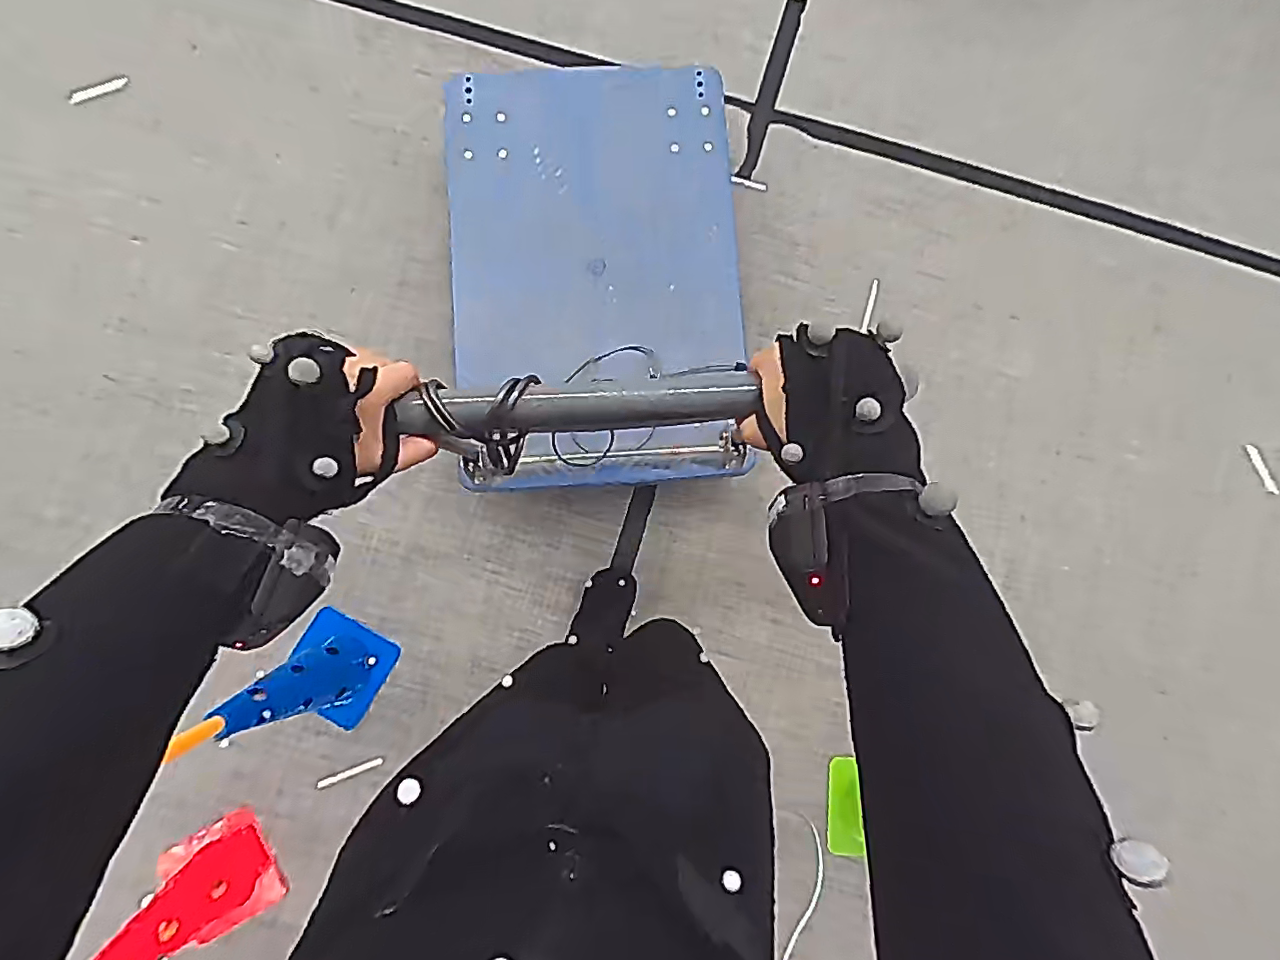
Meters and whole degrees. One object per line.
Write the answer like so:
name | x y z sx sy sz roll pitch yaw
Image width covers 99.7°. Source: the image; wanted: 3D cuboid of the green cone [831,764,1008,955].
green cone | 0.510 0.689 0.970 0.200 0.368 0.202 3 84 -2

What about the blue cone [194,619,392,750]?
blue cone | -0.633 0.387 0.972 0.193 0.380 0.192 32 84 1

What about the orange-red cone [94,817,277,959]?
orange-red cone | -0.834 0.776 0.903 0.199 0.360 0.198 -27 86 -7
